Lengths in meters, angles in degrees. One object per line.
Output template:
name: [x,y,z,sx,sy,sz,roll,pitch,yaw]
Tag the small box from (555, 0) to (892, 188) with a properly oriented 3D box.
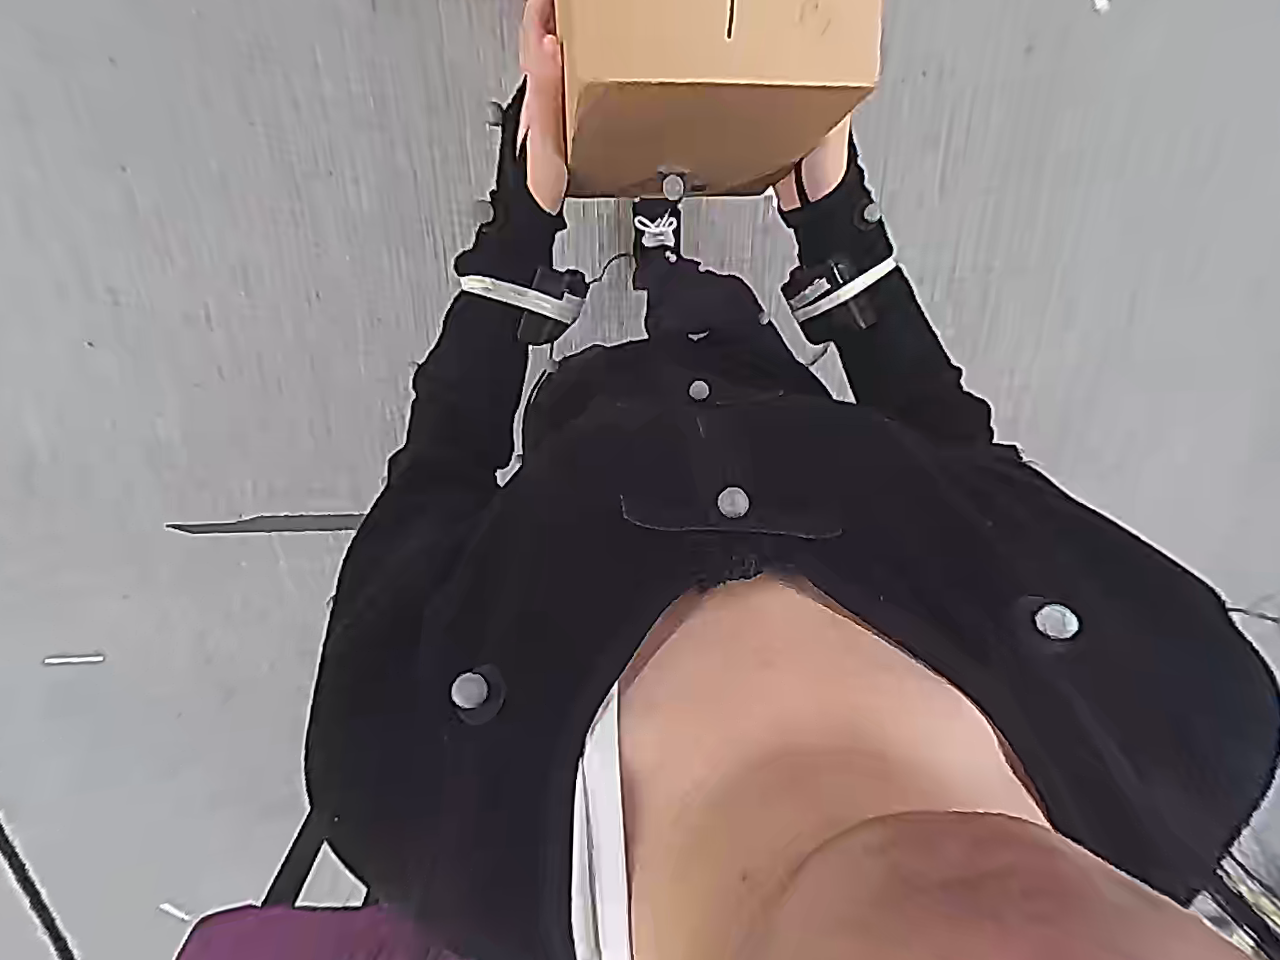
small box: [0.034,-0.308,0.339,0.168,0.176,0.179,-5,101,-9]
